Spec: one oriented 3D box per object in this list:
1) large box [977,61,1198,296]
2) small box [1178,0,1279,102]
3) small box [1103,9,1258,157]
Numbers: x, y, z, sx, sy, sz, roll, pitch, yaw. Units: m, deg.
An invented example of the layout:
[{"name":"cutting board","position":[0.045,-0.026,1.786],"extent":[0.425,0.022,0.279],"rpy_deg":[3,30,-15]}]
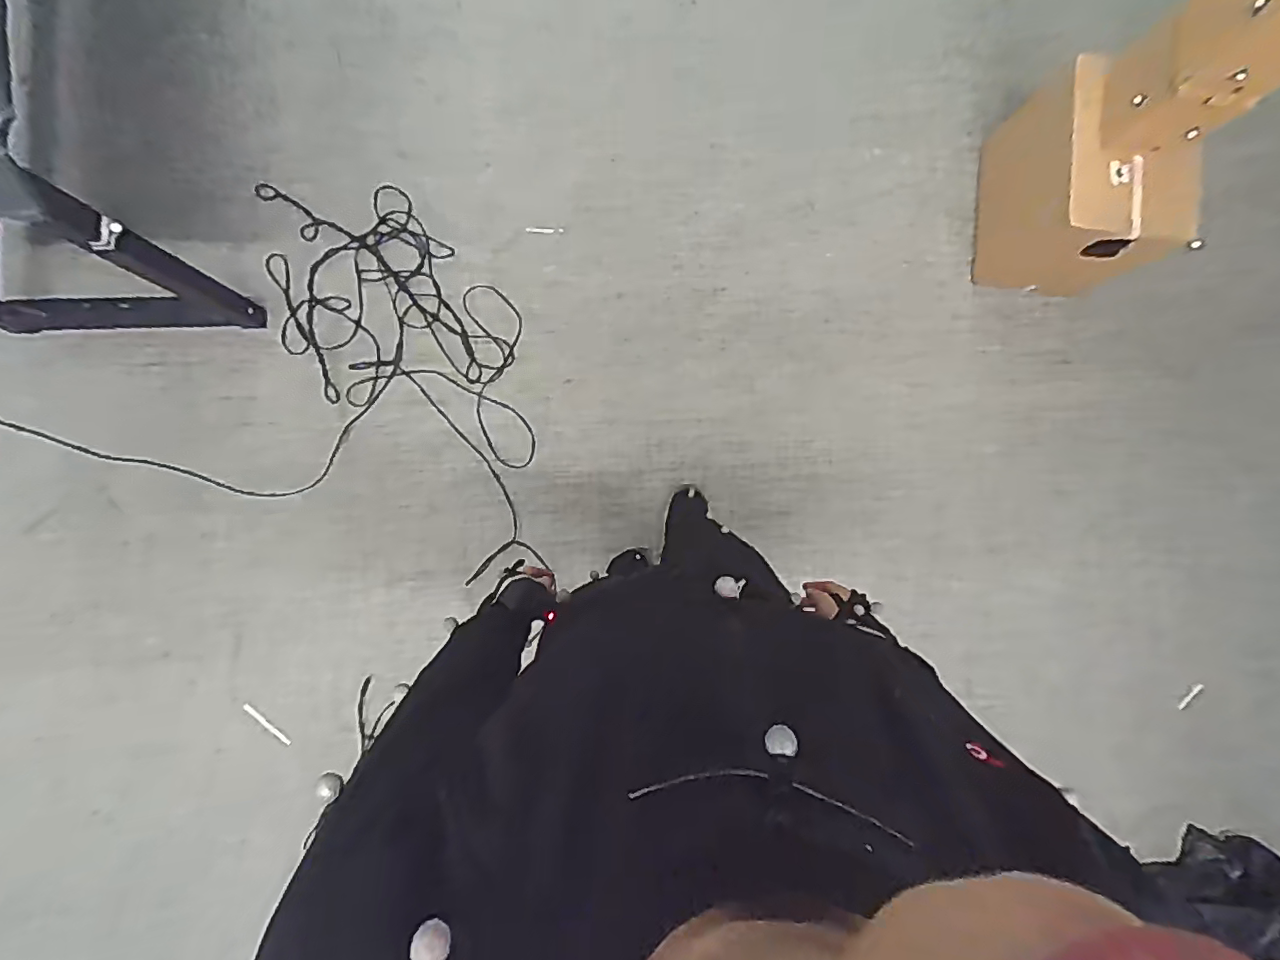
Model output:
[{"name":"large box","position":[1.096,-0.725,1.355],"extent":[0.320,0.320,0.408],"rpy_deg":[4,88,-3]},{"name":"small box","position":[1.113,-0.821,0.955],"extent":[0.168,0.176,0.179],"rpy_deg":[7,88,-5]},{"name":"small box","position":[1.106,-0.806,1.117],"extent":[0.168,0.176,0.179],"rpy_deg":[5,86,-5]}]
